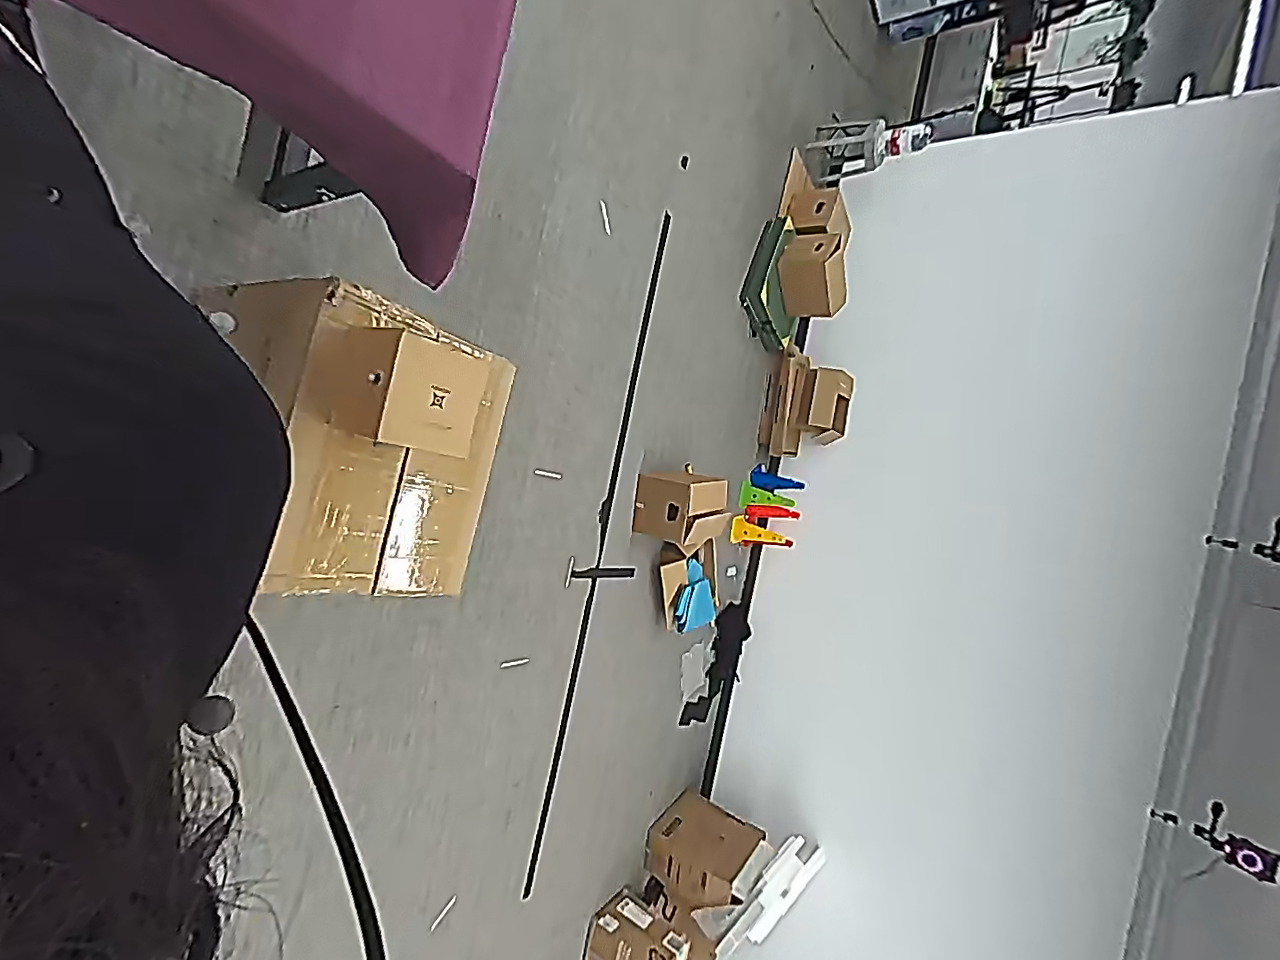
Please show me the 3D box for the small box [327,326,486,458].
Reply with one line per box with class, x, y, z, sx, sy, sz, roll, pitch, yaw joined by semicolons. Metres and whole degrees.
small box;-0.392;-0.146;0.905;0.168;0.176;0.179;14;89;-54
